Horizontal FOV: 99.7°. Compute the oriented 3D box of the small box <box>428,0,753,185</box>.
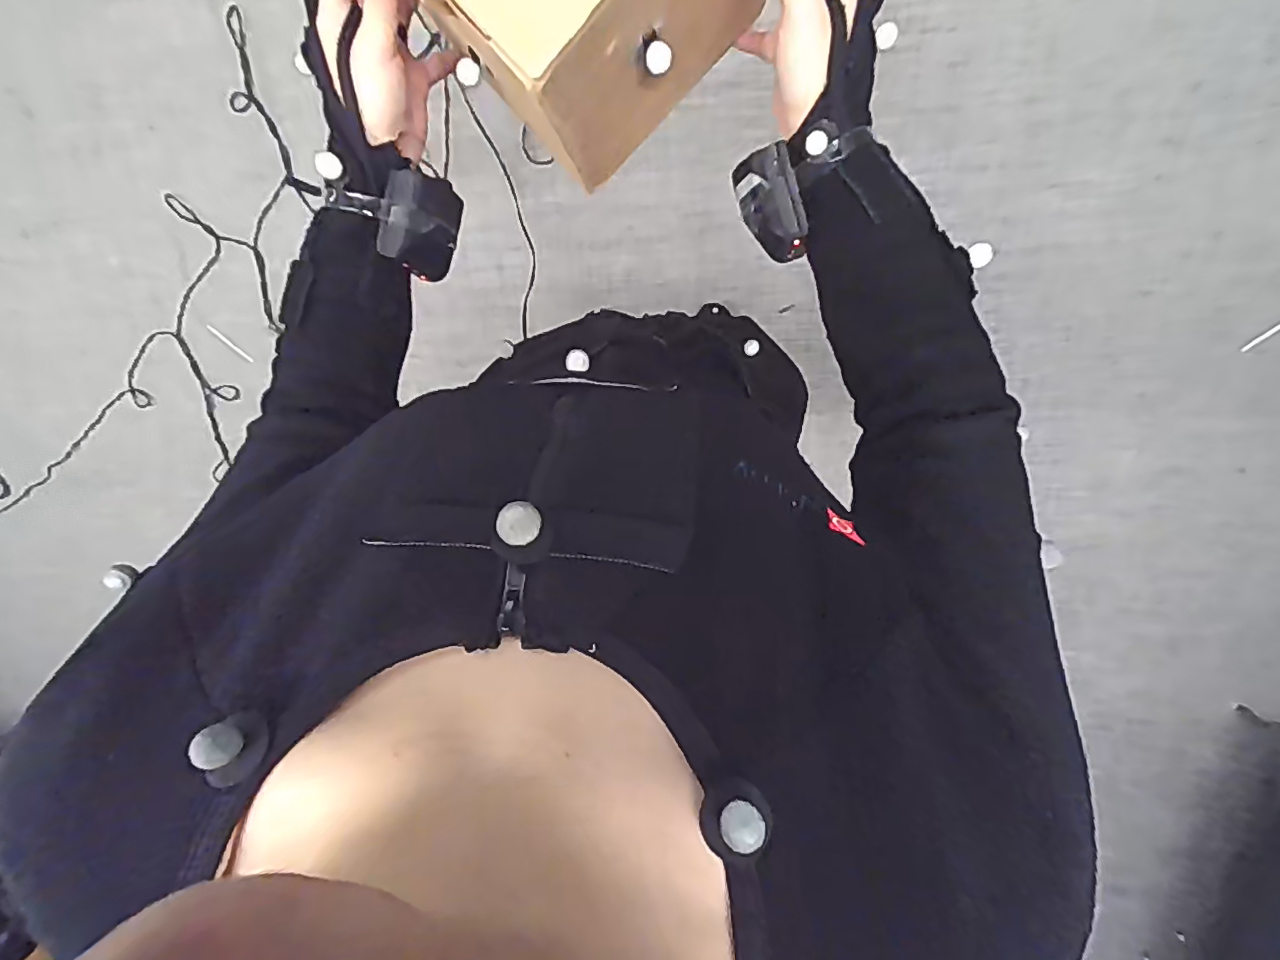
[{"bbox_3d":[-0.035,-0.318,0.320,0.179,0.176,0.168,-42,96,12],"label":"small box"}]
